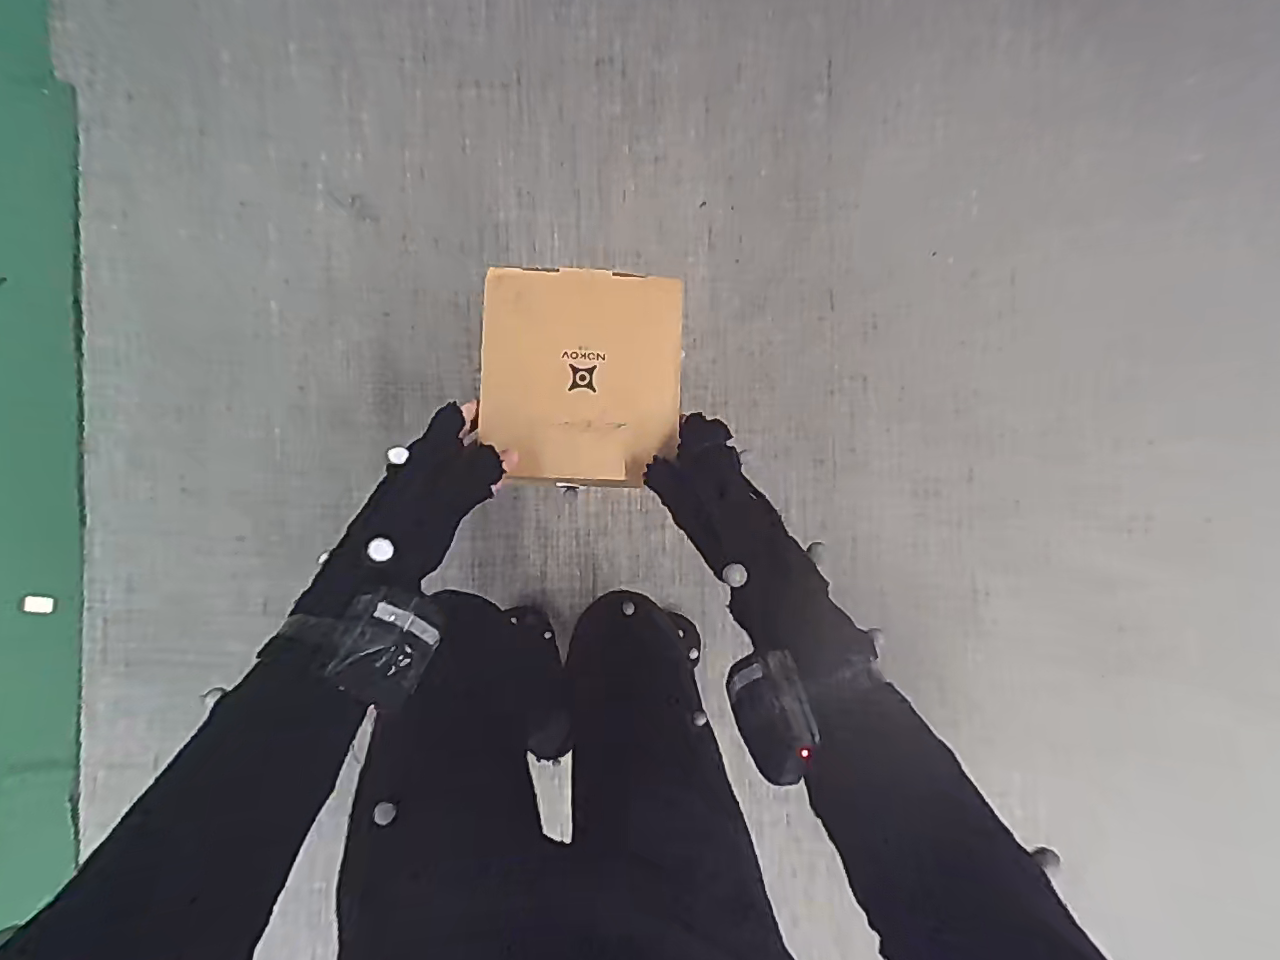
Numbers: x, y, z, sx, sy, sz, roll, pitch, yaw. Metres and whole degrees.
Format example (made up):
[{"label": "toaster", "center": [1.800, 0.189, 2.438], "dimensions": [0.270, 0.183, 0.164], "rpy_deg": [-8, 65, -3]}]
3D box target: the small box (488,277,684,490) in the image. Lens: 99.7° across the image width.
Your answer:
[{"label": "small box", "center": [-0.052, -0.081, 0.544], "dimensions": [0.168, 0.176, 0.179], "rpy_deg": [1, 88, -4]}]
